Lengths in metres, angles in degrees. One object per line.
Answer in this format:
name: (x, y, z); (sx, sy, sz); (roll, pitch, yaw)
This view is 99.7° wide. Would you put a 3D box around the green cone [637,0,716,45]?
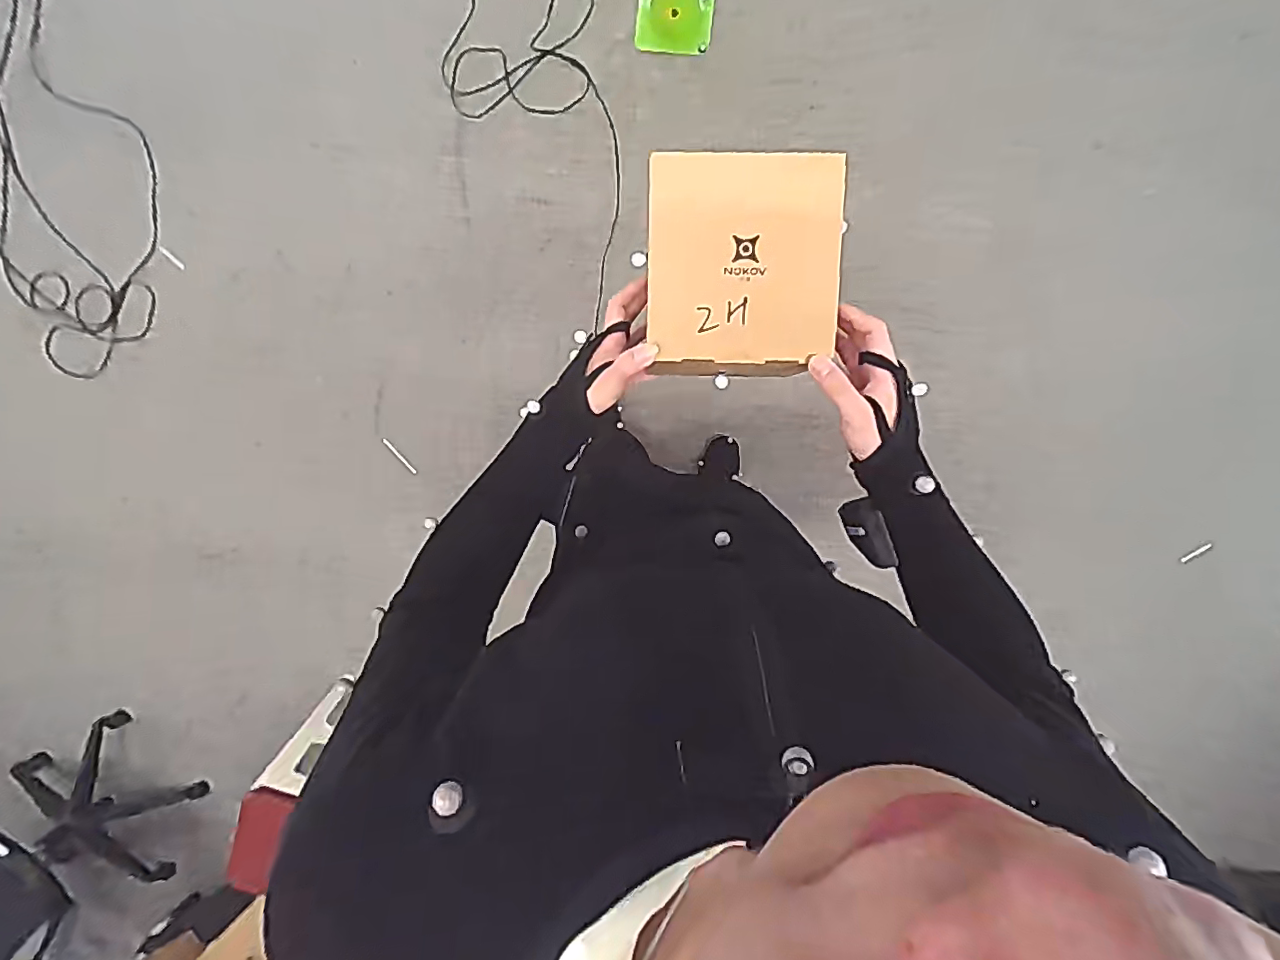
green cone: (0.087, -1.227, 1.240); (0.202, 0.368, 0.200); (6, 98, 3)
